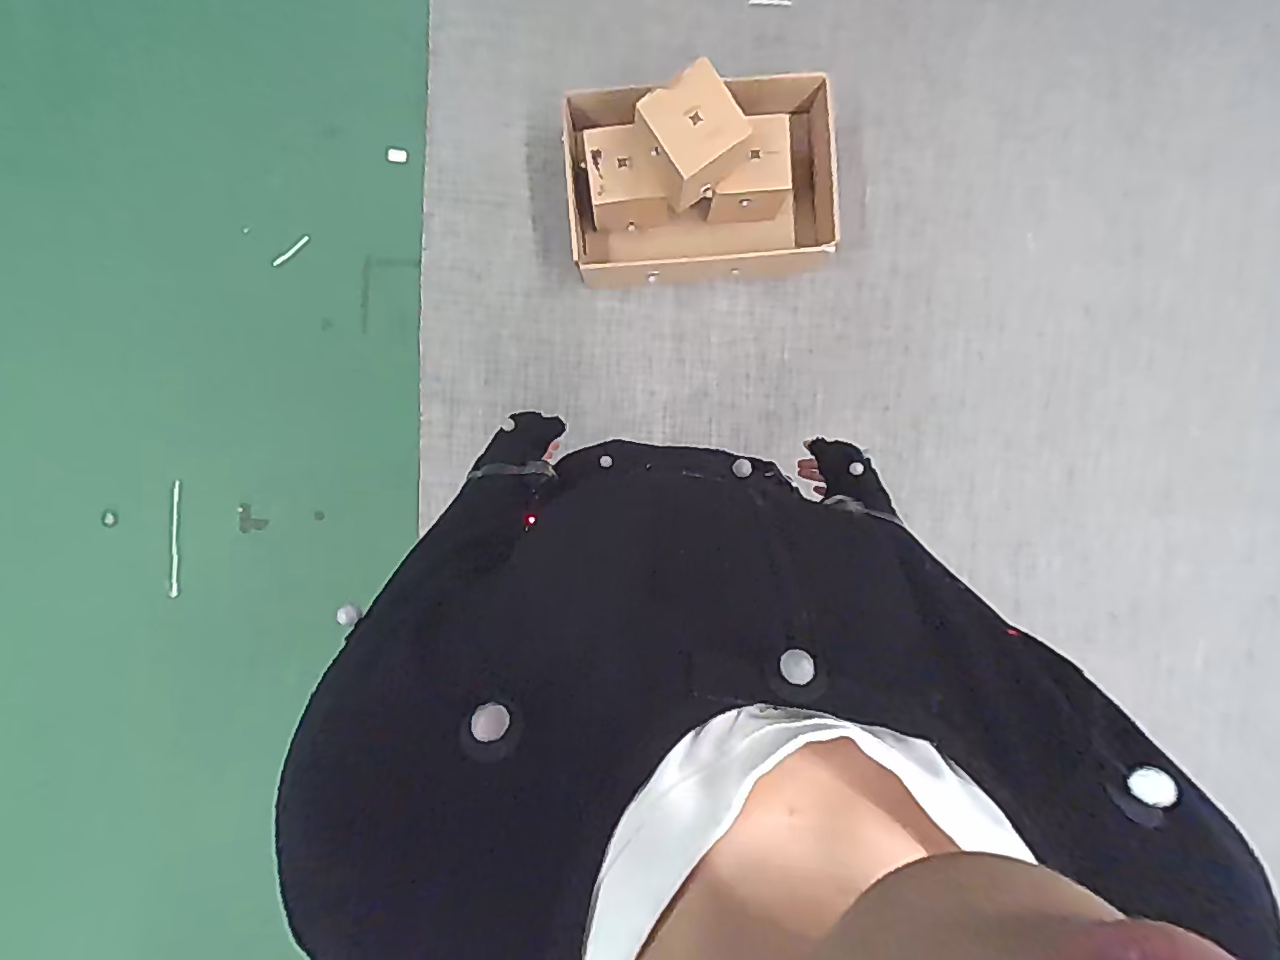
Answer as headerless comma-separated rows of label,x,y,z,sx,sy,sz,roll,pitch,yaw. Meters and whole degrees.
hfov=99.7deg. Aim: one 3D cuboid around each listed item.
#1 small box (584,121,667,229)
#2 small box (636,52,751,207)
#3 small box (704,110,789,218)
small box,-0.035,-0.720,1.287,0.179,0.176,0.168,-7,93,-2
small box,0.102,-0.717,1.128,0.168,0.176,0.179,-35,95,2
small box,0.245,-0.742,1.287,0.179,0.176,0.168,-3,94,0
